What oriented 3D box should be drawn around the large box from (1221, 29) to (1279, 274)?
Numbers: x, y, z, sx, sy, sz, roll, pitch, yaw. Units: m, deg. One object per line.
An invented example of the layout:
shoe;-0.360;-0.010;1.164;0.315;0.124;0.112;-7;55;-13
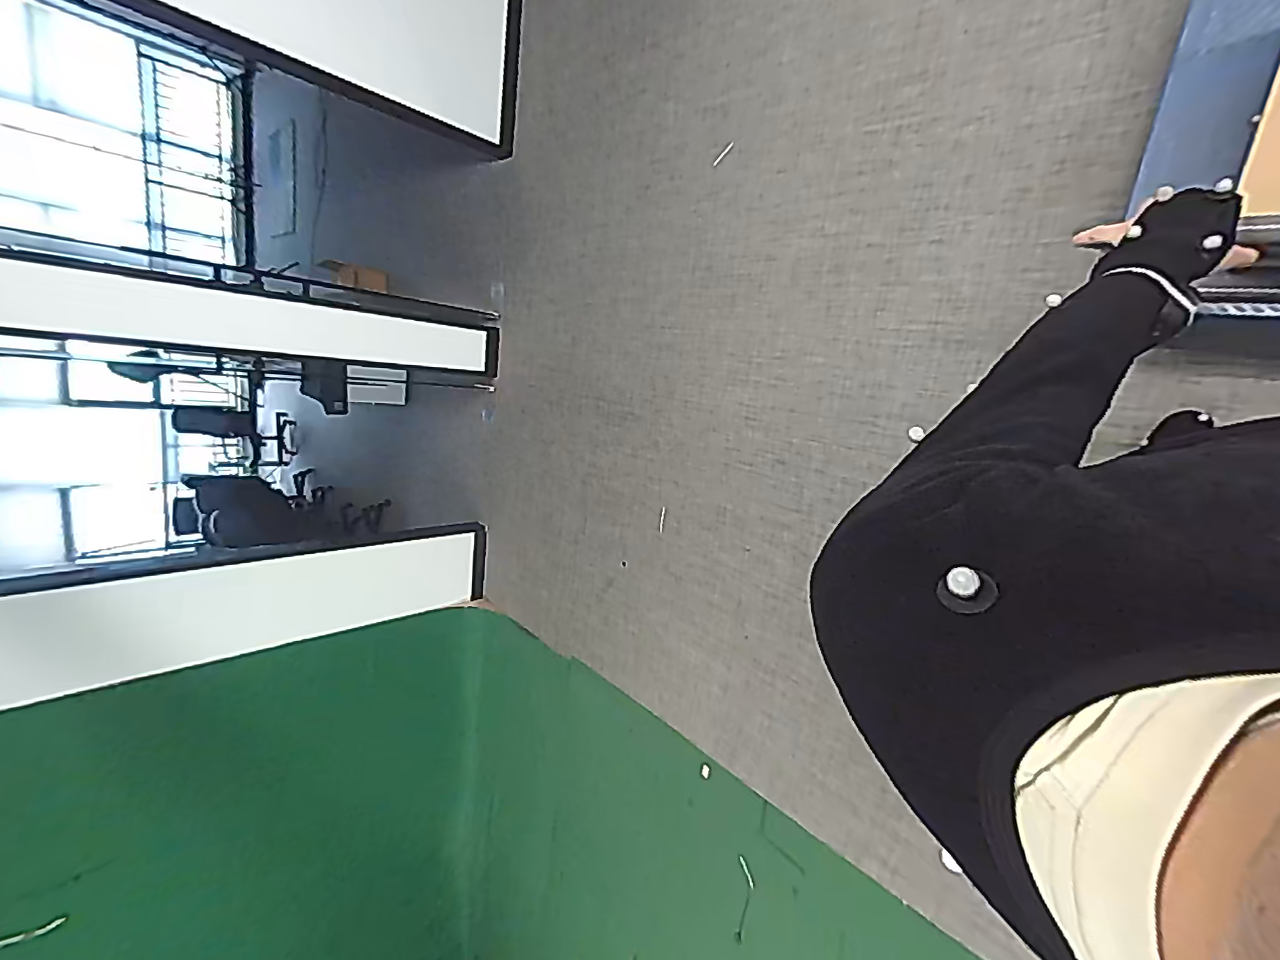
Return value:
large box;1.107;-0.541;0.770;0.320;0.320;0.408;18;104;42
